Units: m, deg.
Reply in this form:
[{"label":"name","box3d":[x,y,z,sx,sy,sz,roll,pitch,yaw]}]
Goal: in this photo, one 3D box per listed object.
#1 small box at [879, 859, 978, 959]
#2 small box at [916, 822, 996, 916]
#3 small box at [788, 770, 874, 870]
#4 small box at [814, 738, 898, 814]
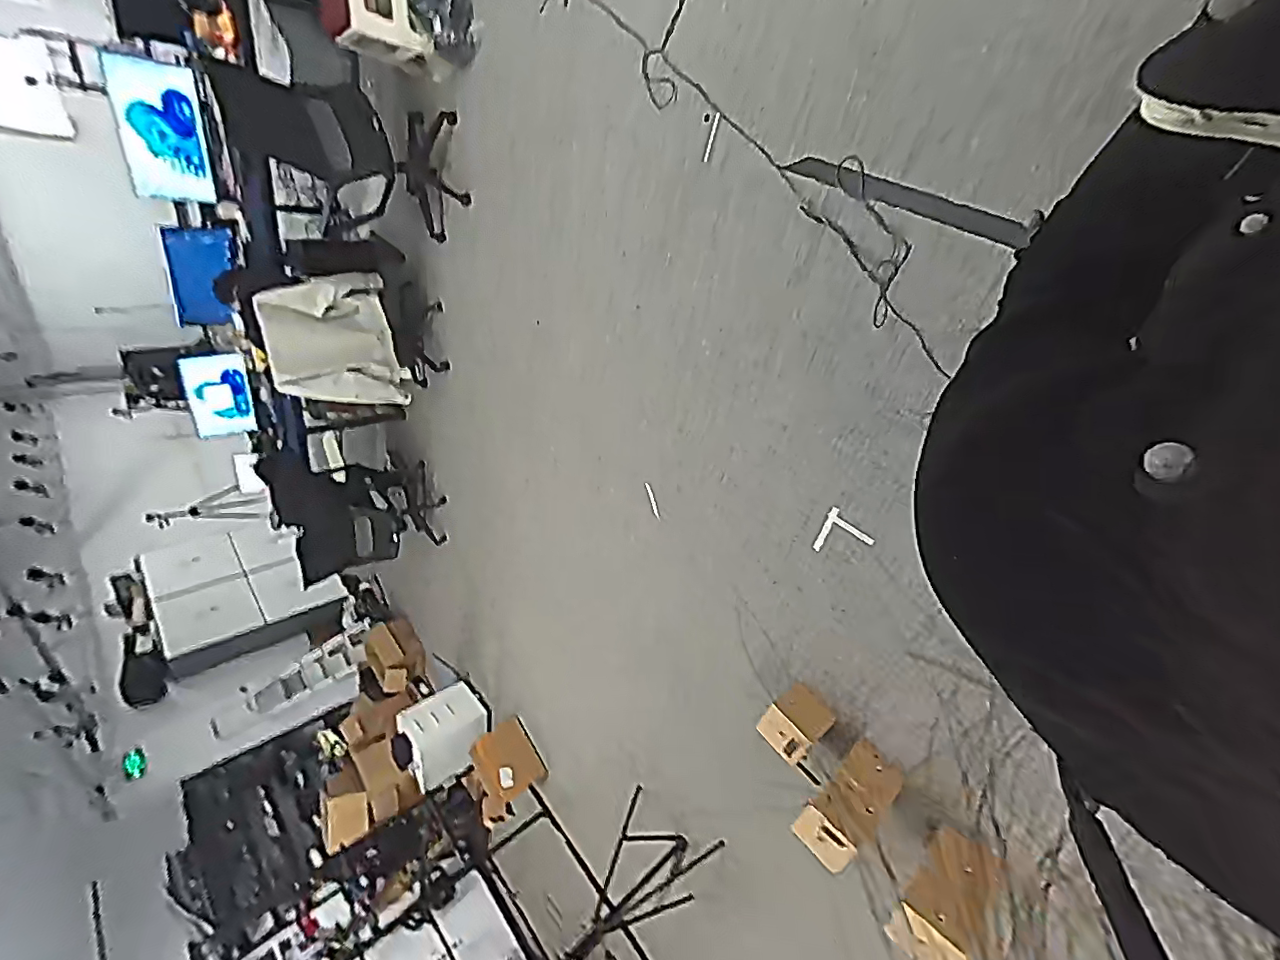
[{"label":"small box","box3d":[0.815,1.228,1.522,0.179,0.176,0.168,30,124,38]},{"label":"small box","box3d":[0.934,1.188,1.626,0.179,0.176,0.168,28,123,37]},{"label":"small box","box3d":[0.599,1.052,1.685,0.168,0.176,0.179,39,131,31]},{"label":"small box","box3d":[0.717,1.000,1.789,0.168,0.176,0.179,42,131,28]}]
